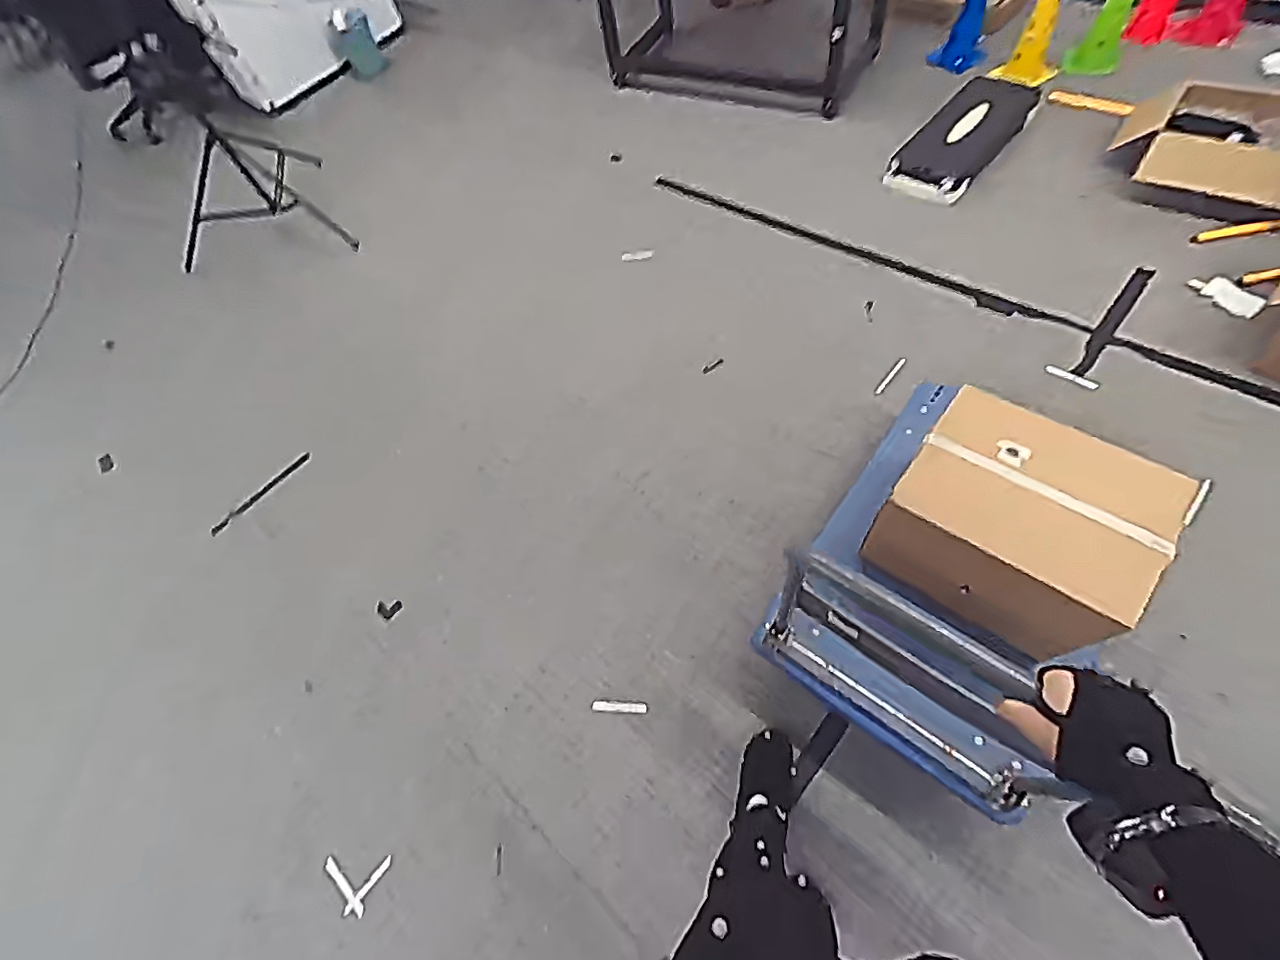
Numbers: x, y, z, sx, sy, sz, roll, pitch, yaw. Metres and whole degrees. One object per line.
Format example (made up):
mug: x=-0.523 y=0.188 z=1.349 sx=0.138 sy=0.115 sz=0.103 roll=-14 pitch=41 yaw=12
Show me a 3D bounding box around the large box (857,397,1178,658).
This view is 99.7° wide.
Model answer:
large box: x=0.729 y=0.103 z=1.115 sx=0.408 sy=0.320 sz=0.320 roll=32 pitch=72 yaw=25
